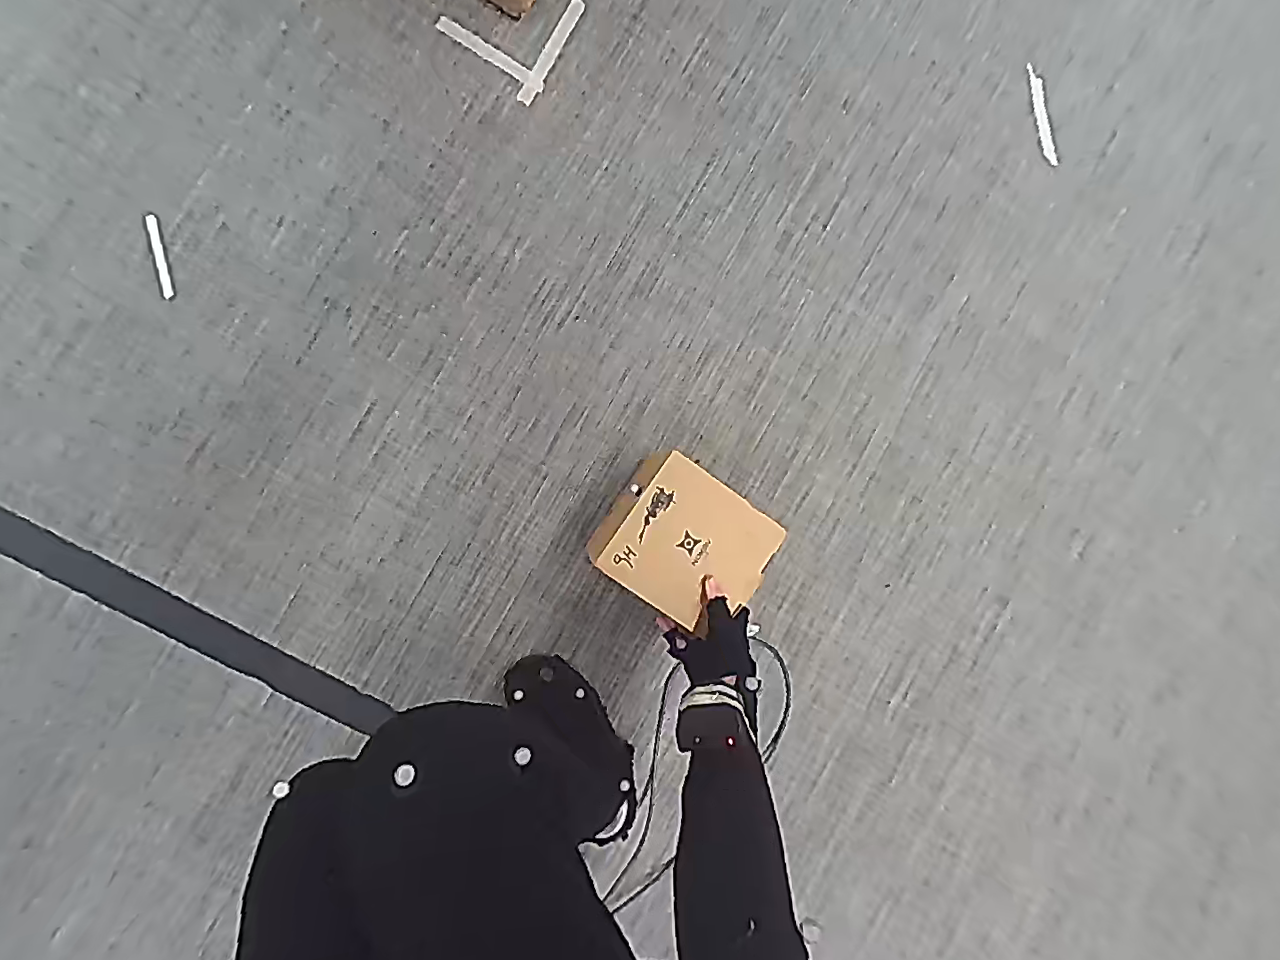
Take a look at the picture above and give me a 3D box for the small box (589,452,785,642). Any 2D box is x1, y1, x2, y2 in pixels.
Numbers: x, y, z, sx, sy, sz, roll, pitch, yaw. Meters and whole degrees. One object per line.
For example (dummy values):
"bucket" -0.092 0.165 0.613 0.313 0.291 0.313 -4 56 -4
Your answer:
"small box" 0.049 0.077 0.711 0.179 0.176 0.168 35 85 -8
